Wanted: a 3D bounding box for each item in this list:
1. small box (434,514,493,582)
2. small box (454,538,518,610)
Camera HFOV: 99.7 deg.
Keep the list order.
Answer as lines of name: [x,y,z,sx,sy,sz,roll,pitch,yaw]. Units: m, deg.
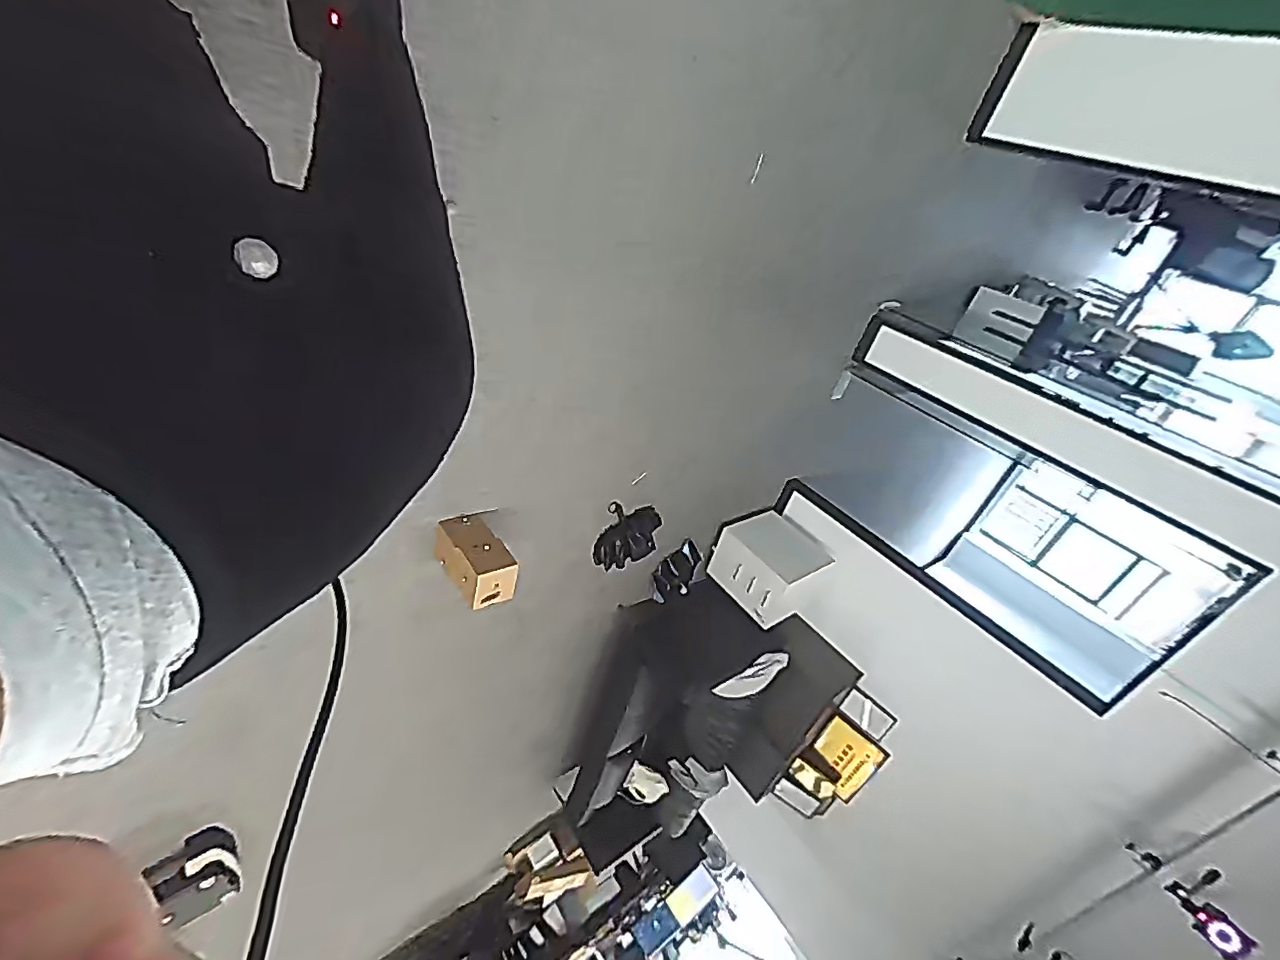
small box: [-0.689,0.262,2.107,0.168,0.176,0.179,-15,132,-40]
small box: [-0.580,0.347,2.018,0.168,0.176,0.179,-13,131,-41]
